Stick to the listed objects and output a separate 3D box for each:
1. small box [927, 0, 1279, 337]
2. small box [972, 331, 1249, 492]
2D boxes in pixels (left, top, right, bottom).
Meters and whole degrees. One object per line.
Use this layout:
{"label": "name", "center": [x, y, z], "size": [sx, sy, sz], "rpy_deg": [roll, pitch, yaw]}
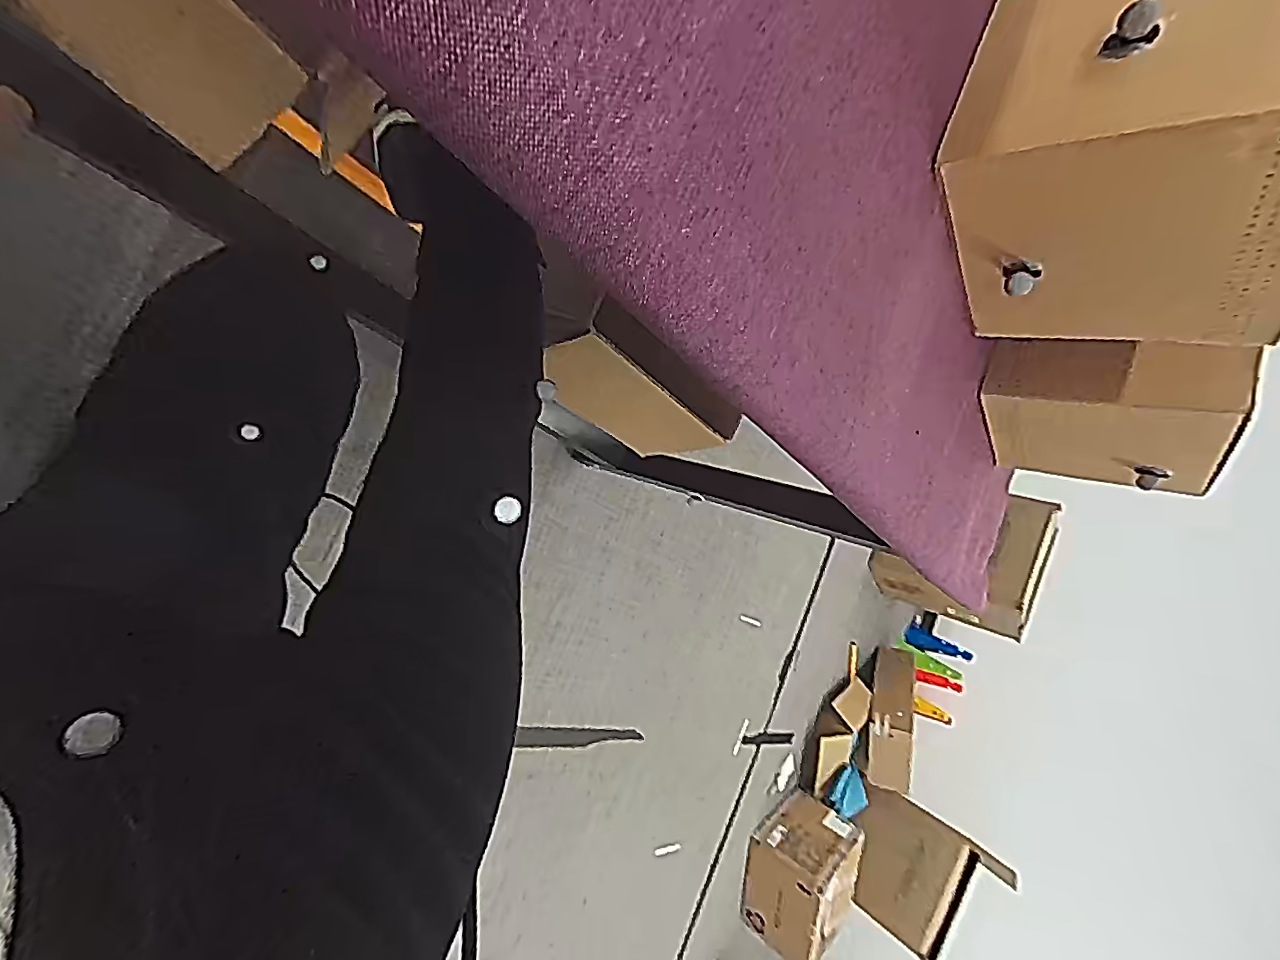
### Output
{"label": "small box", "center": [0.305, -0.206, 0.336], "size": [0.179, 0.176, 0.168], "rpy_deg": [33, 77, -47]}
{"label": "small box", "center": [0.439, -0.107, 0.517], "size": [0.179, 0.176, 0.168], "rpy_deg": [33, 76, -48]}
